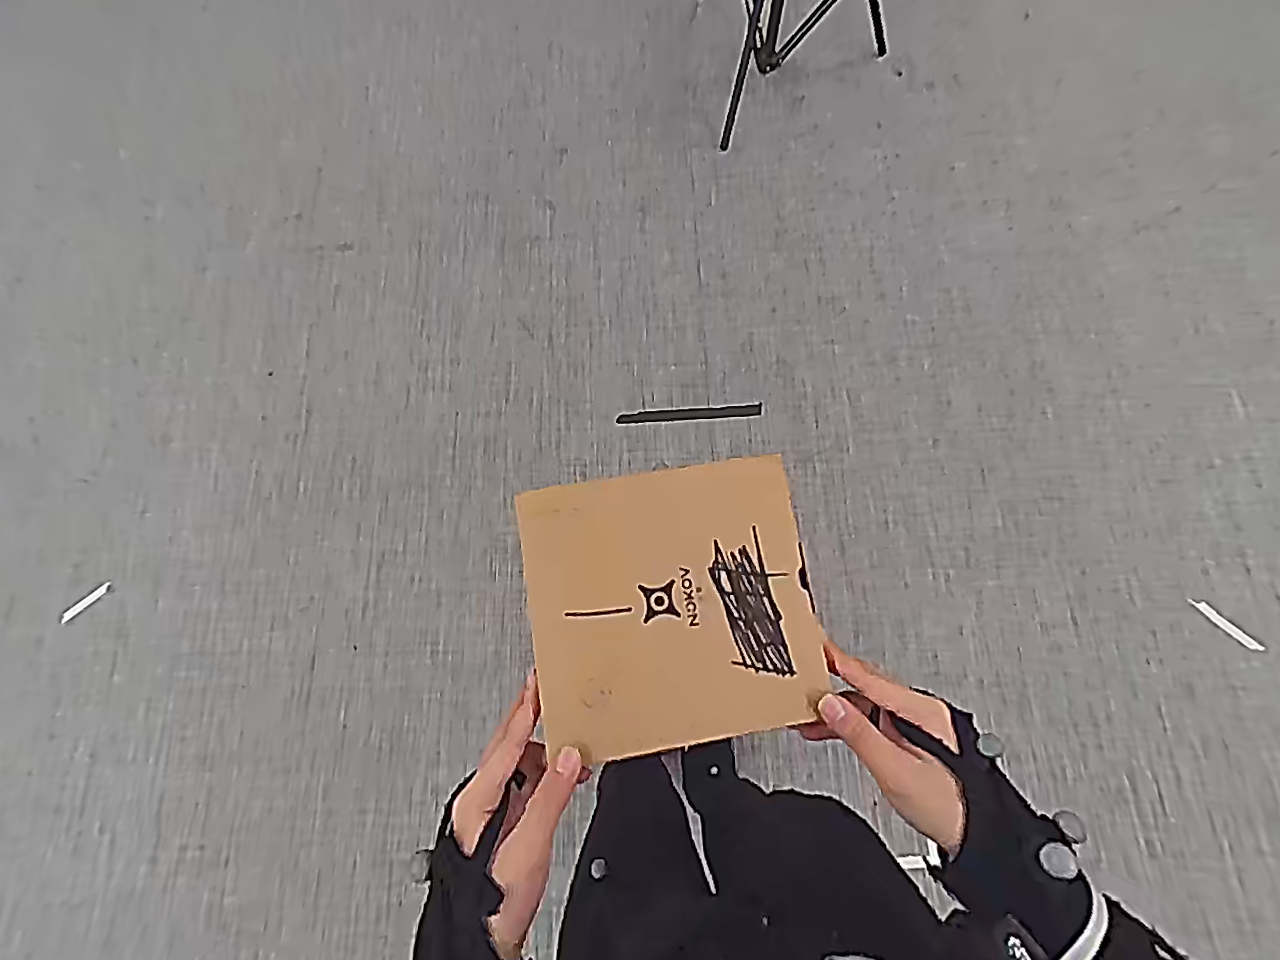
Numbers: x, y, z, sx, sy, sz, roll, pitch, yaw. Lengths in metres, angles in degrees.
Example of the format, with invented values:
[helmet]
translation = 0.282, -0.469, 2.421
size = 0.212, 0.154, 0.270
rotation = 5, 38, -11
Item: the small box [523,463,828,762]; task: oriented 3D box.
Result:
[small box]
translation = 0.015, 0.092, 0.418
size = 0.179, 0.176, 0.168
rotation = -8, 79, -5
